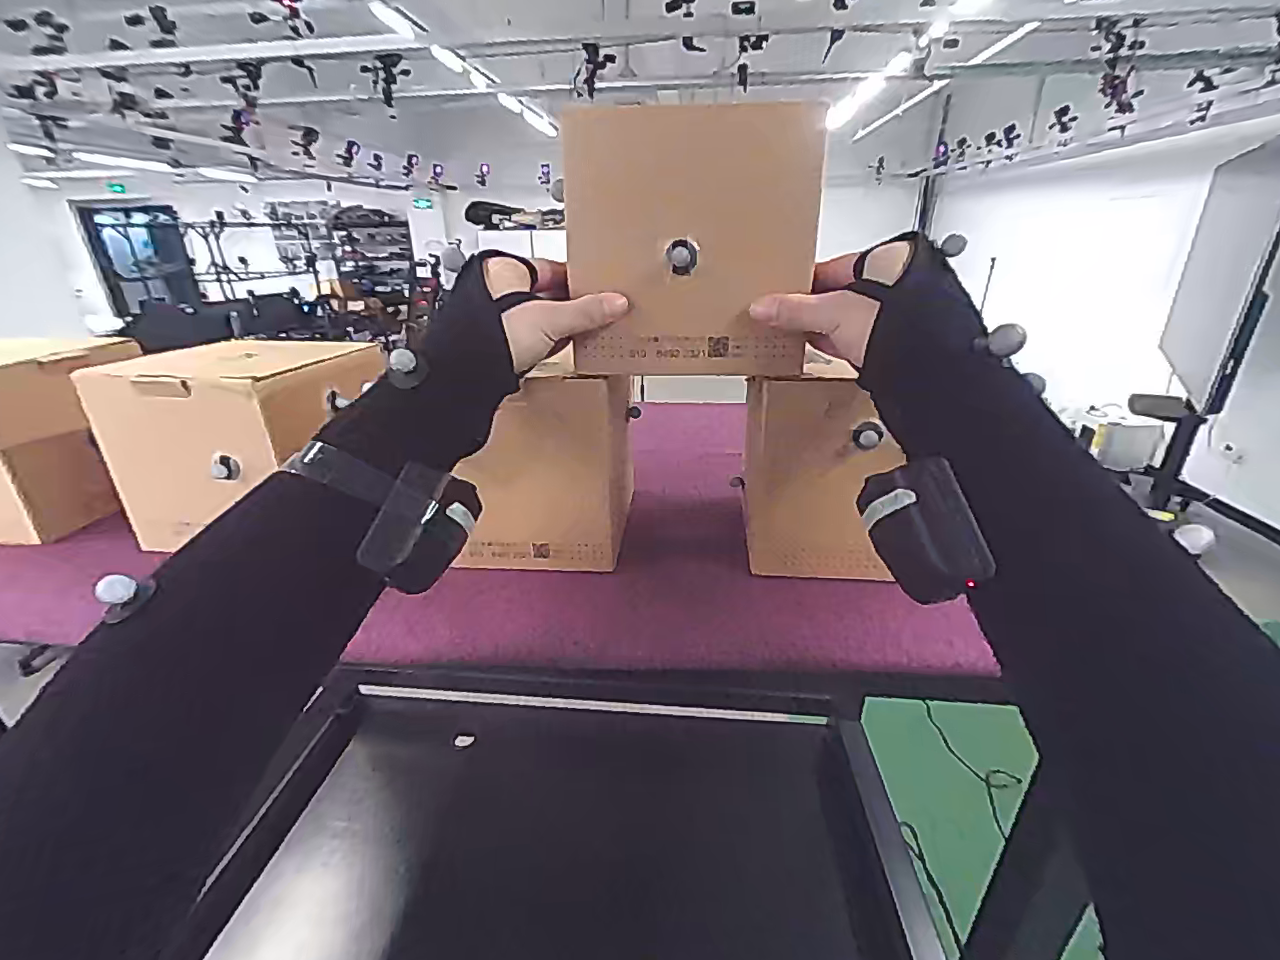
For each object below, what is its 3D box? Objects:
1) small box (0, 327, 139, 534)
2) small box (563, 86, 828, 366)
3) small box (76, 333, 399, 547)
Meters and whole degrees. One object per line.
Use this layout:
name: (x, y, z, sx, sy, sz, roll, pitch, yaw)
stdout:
small box: (-0.636, -0.055, 0.552, 0.179, 0.176, 0.168, 2, 23, 3)
small box: (0.041, -0.188, 0.433, 0.168, 0.176, 0.179, 2, 22, 4)
small box: (-0.363, -0.047, 0.531, 0.168, 0.176, 0.179, 3, 23, 7)
